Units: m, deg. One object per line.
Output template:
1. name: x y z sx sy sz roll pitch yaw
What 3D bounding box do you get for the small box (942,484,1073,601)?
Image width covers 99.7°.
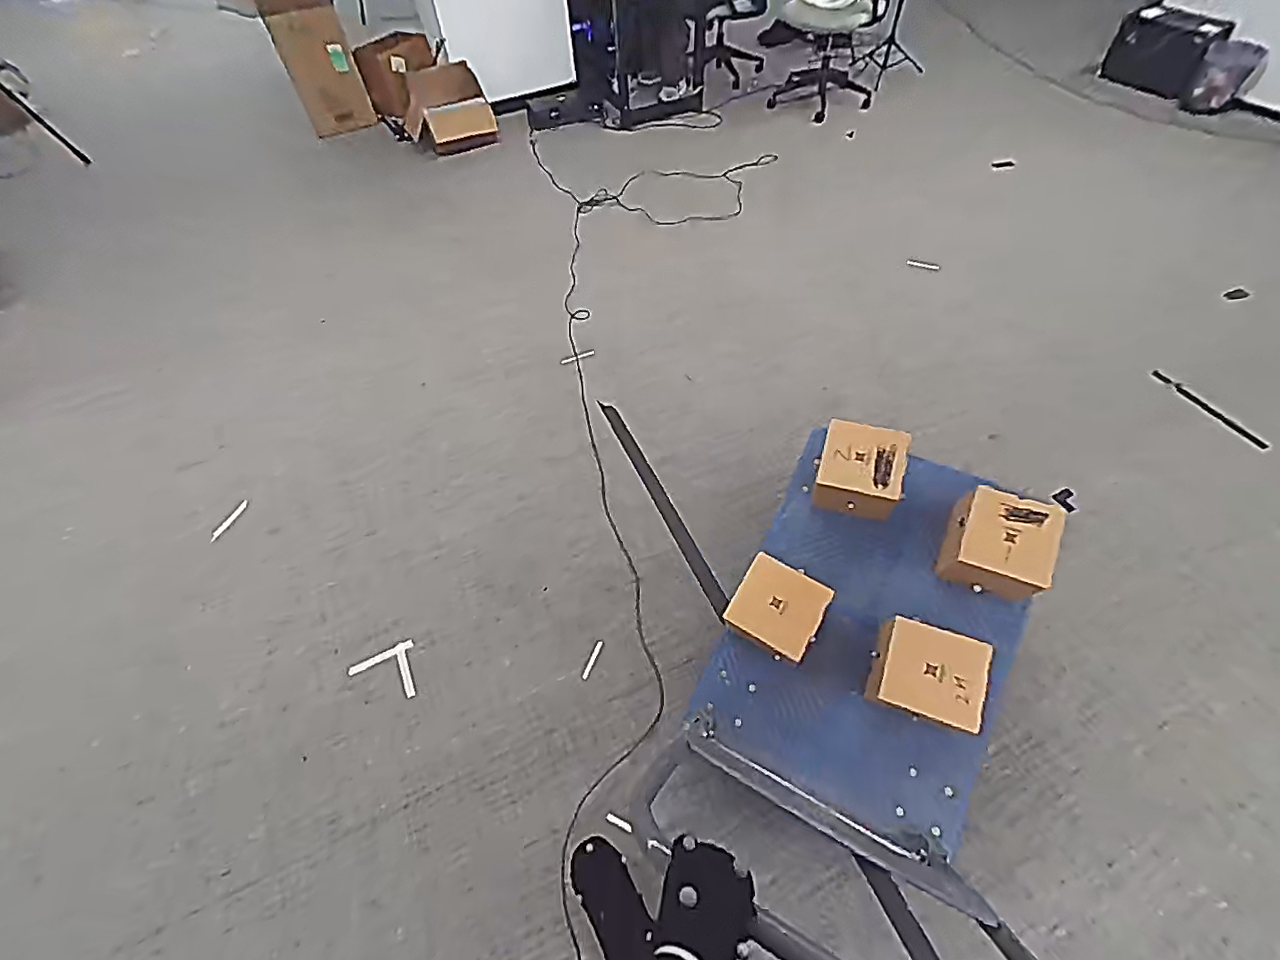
1. small box: 0.767 0.137 1.146 0.168 0.176 0.179 19 75 20

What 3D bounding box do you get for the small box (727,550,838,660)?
1. small box: 0.309 0.284 1.194 0.179 0.176 0.168 28 77 20

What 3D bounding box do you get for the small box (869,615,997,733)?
1. small box: 0.578 0.391 1.088 0.179 0.176 0.168 17 73 19
